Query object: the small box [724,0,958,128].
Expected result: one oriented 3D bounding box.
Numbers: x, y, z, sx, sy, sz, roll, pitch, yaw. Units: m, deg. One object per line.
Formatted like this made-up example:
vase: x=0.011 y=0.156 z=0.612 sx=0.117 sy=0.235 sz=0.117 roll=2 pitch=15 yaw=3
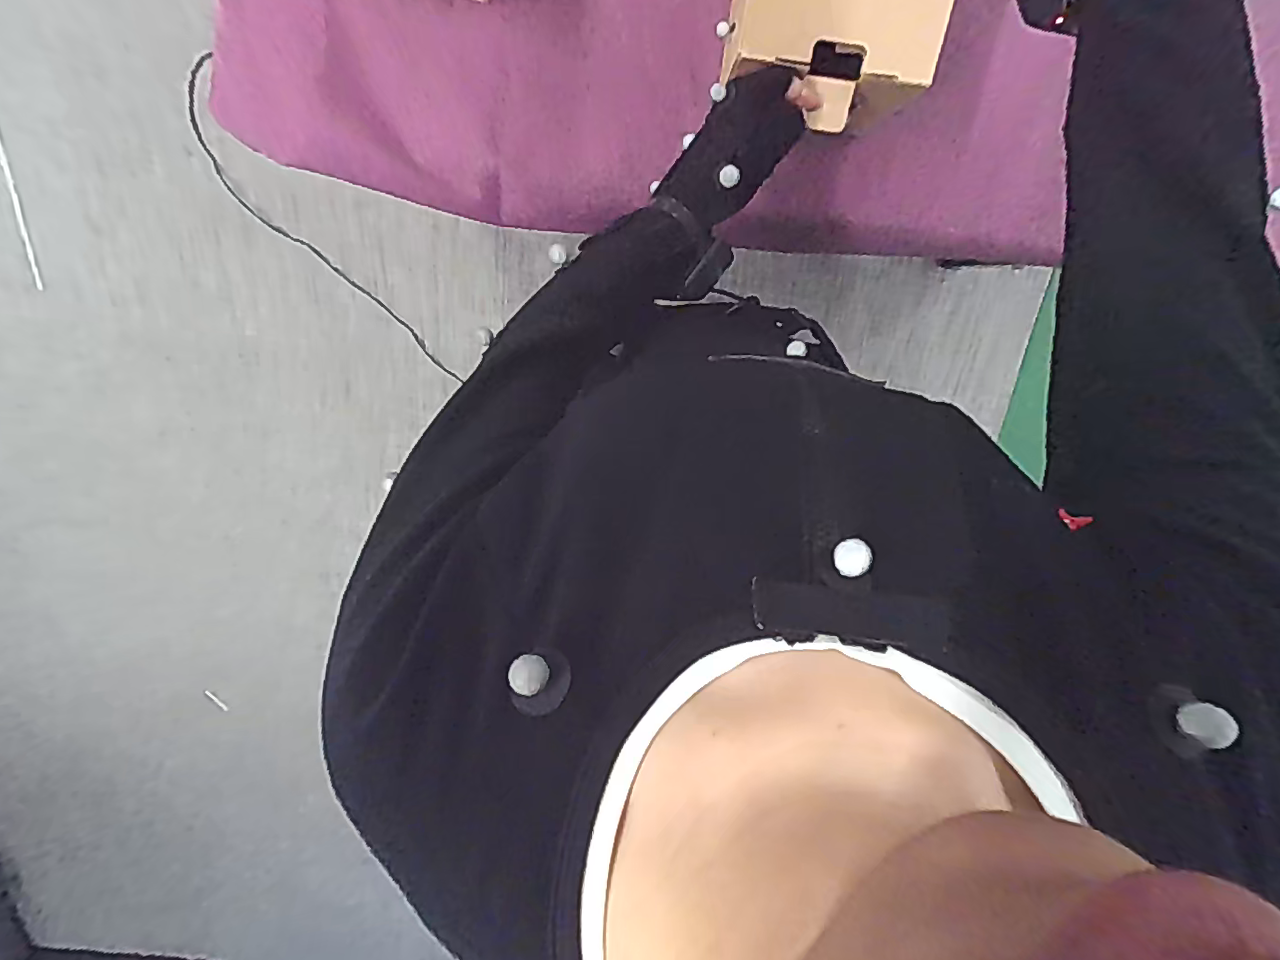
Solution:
small box: x=0.176 y=-0.443 z=0.485 sx=0.168 sy=0.176 sz=0.179 roll=8 pitch=110 yaw=-2
